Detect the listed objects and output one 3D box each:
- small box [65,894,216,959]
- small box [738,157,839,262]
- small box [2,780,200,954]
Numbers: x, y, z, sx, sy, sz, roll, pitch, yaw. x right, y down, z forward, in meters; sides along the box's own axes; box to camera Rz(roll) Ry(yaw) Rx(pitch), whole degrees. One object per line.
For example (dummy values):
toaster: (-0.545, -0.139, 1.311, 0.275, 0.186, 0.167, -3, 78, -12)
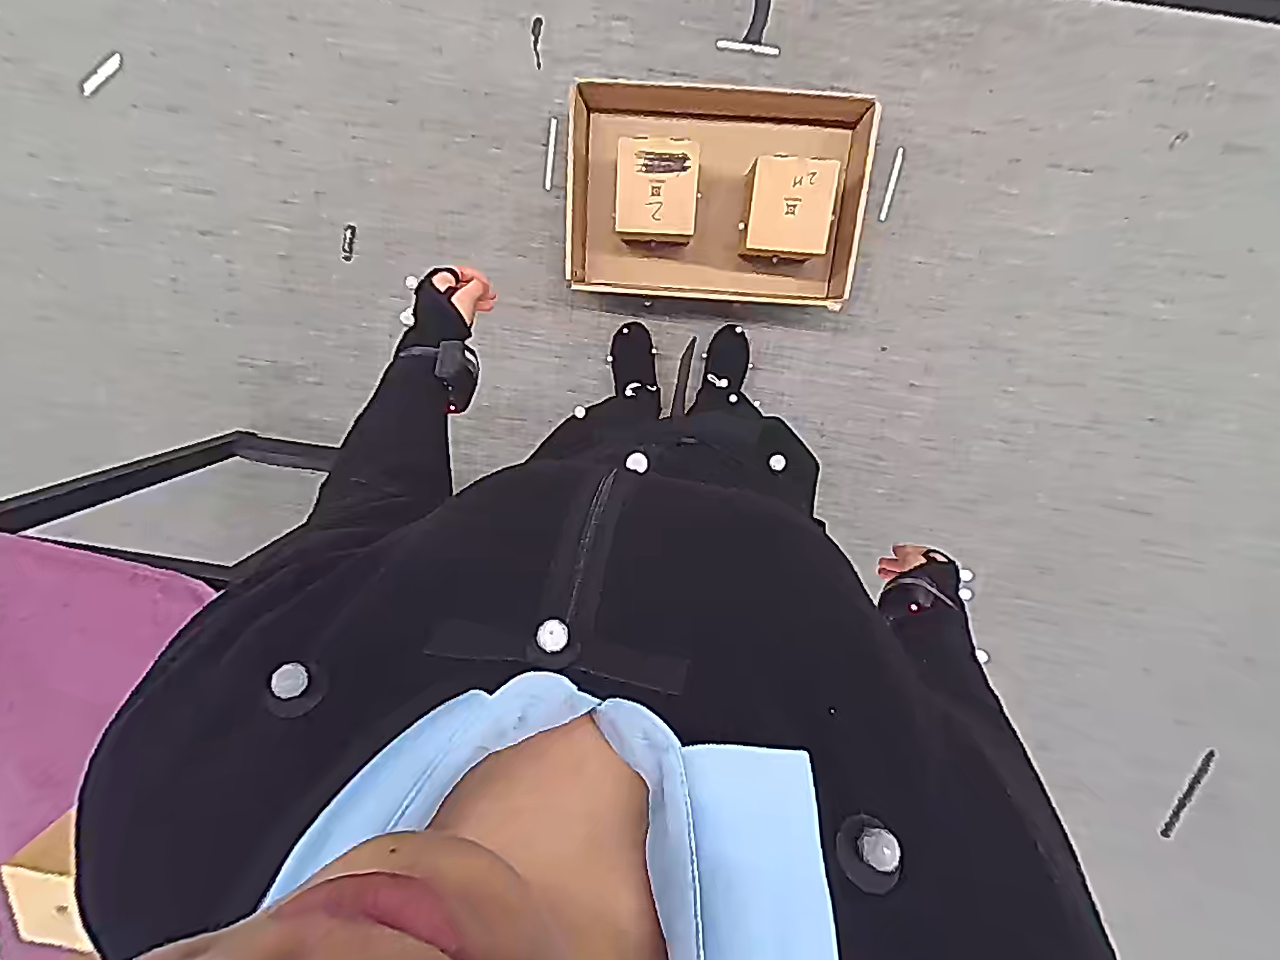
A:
small box: (-0.944, 0.926, 1.020, 0.168, 0.176, 0.179, 9, 107, 0)
small box: (0.312, -0.576, 1.172, 0.168, 0.176, 0.179, 6, 107, 1)
small box: (-0.910, 0.657, 0.934, 0.168, 0.176, 0.179, 10, 109, 0)
